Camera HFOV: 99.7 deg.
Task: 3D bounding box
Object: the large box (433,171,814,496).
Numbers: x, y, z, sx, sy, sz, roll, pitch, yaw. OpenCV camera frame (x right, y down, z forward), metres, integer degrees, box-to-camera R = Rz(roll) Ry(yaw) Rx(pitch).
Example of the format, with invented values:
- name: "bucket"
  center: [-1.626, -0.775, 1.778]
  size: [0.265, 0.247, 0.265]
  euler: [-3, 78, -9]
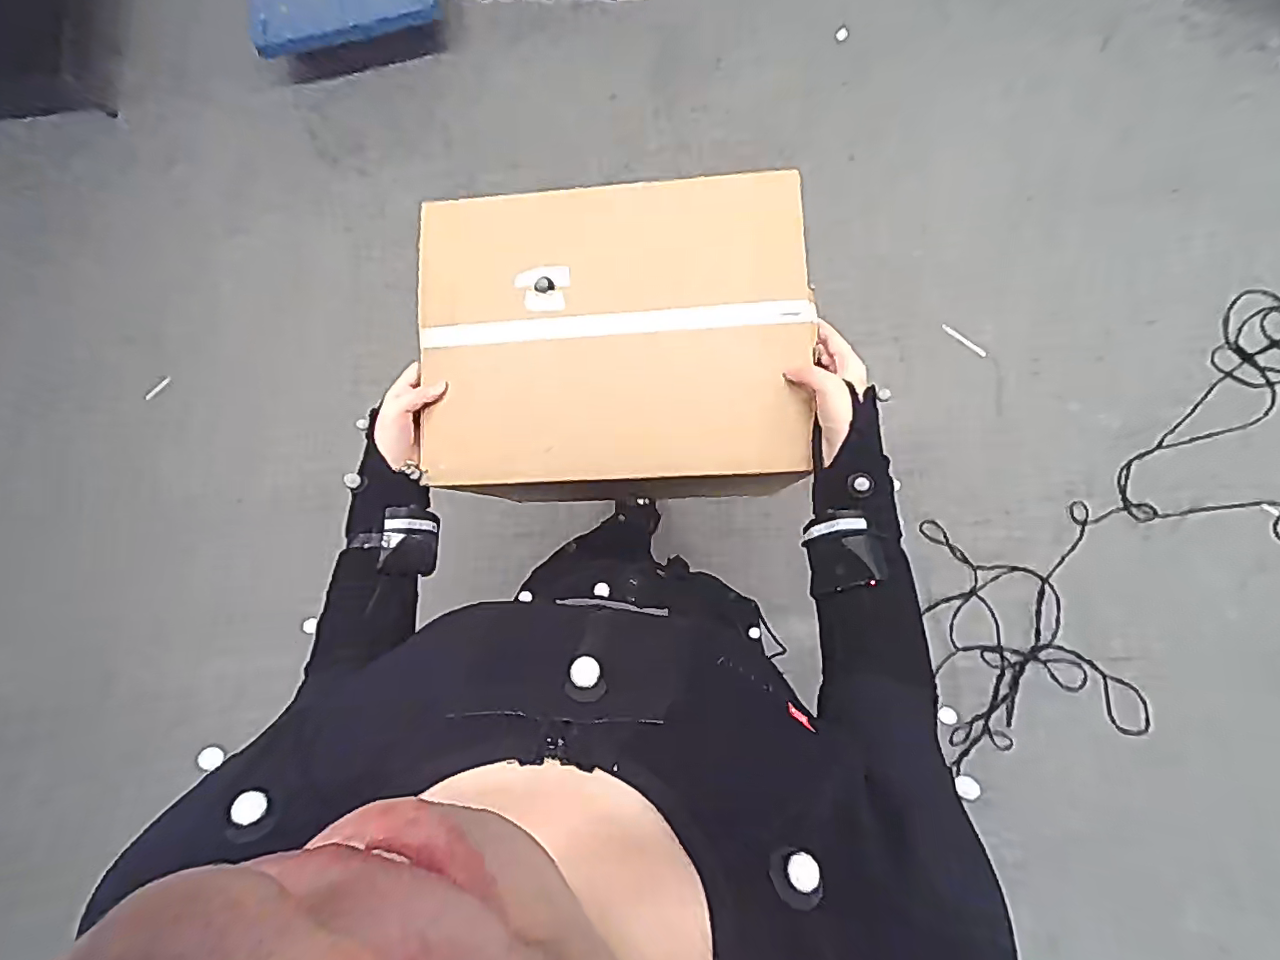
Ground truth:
- name: "large box"
  center: [-0.011, -0.148, 0.719]
  size: [0.408, 0.320, 0.320]
  euler: [-3, 83, 7]
